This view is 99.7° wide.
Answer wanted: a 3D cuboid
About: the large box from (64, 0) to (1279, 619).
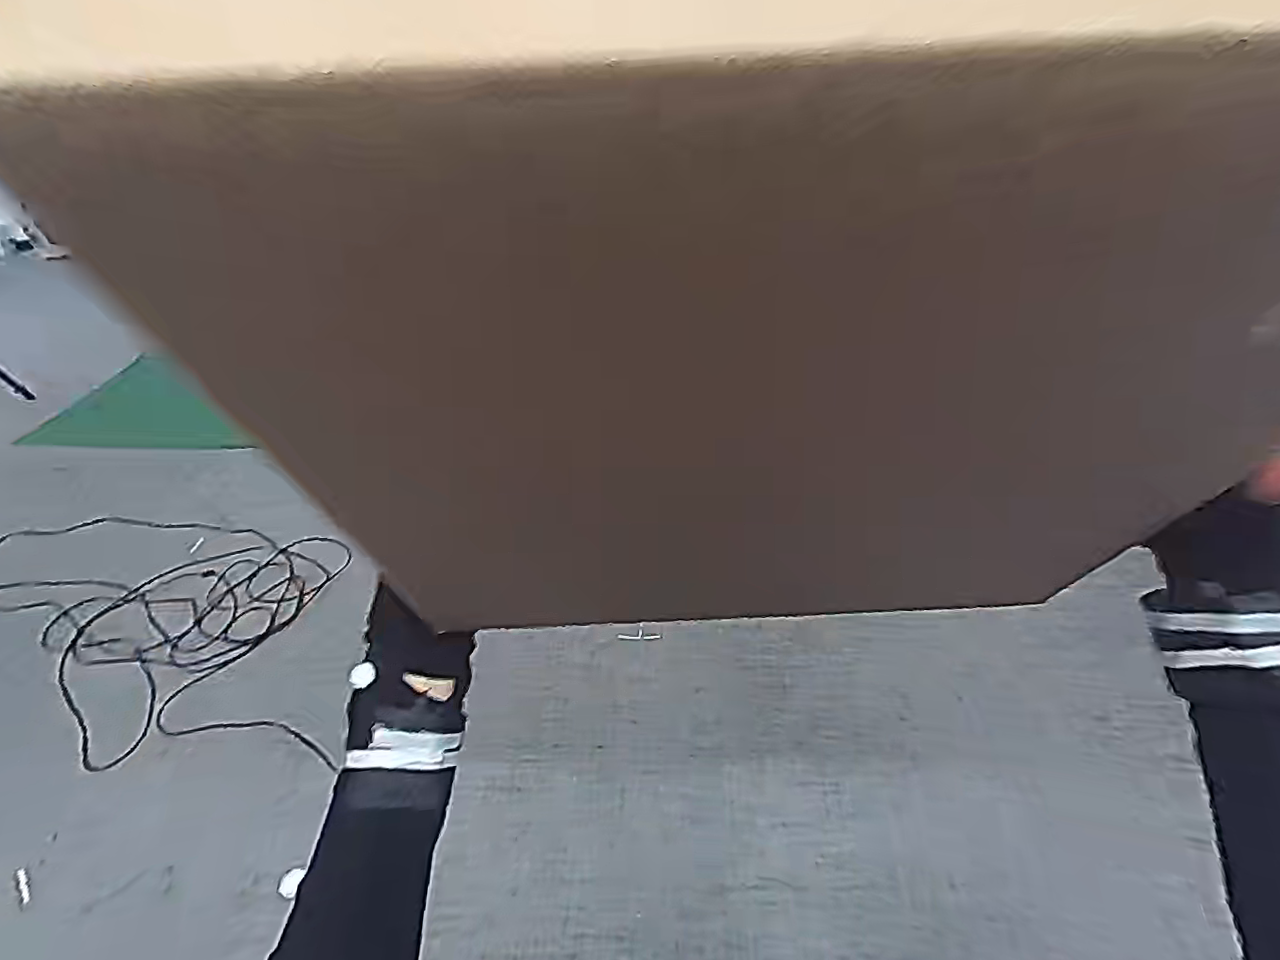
[{"bbox_3d":[0.066,-0.125,0.325,0.408,0.320,0.320,-2,56,-1],"label":"large box"}]
